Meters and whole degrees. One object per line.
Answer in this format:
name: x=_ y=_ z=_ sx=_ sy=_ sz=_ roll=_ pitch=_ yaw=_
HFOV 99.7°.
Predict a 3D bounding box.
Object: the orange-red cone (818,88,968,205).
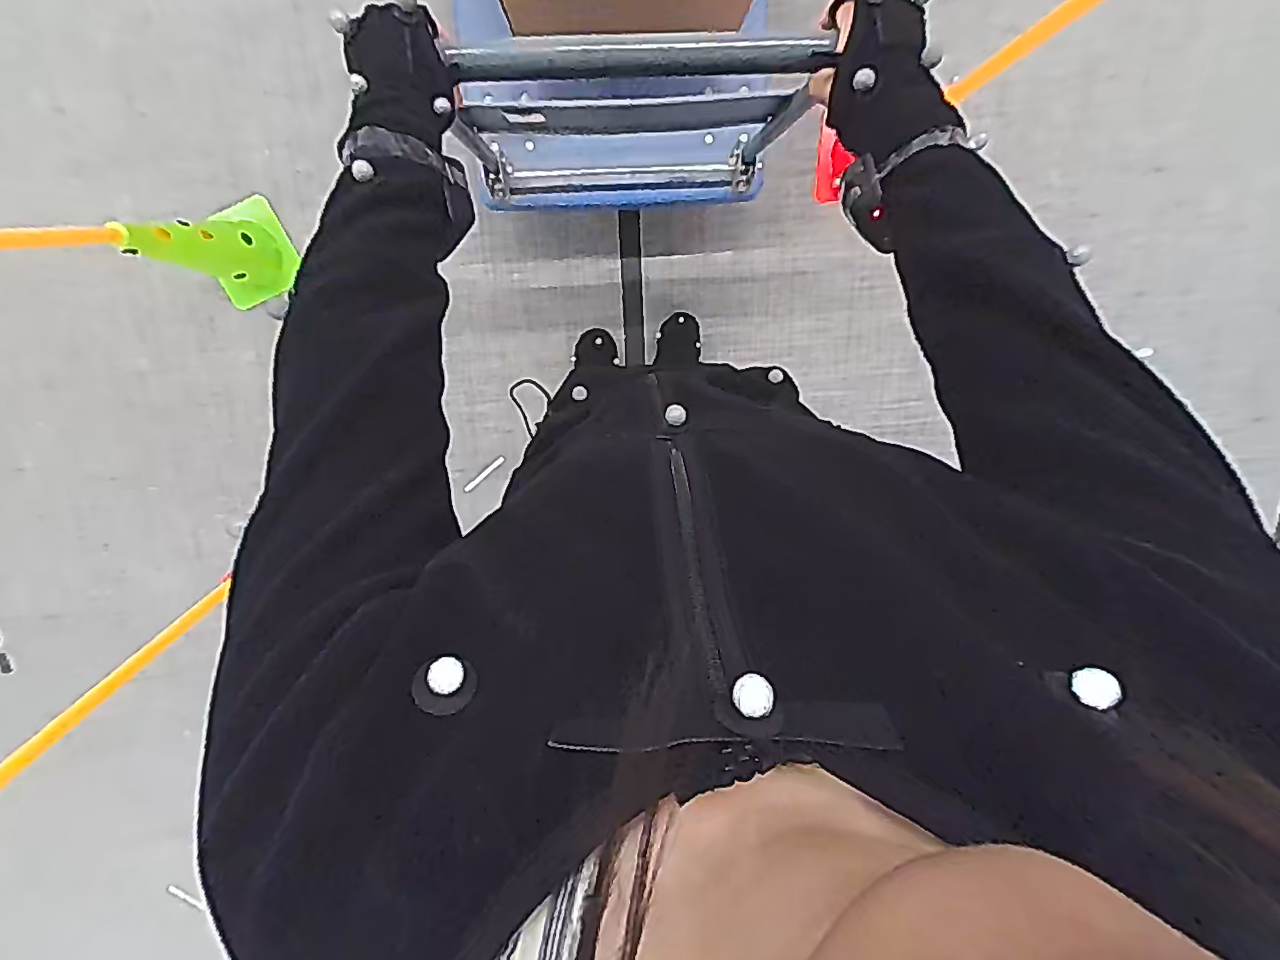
orange-red cone: x=0.522 y=-0.686 z=1.066 sx=0.199 sy=0.360 sz=0.198 roll=2 pitch=108 yaw=-4
